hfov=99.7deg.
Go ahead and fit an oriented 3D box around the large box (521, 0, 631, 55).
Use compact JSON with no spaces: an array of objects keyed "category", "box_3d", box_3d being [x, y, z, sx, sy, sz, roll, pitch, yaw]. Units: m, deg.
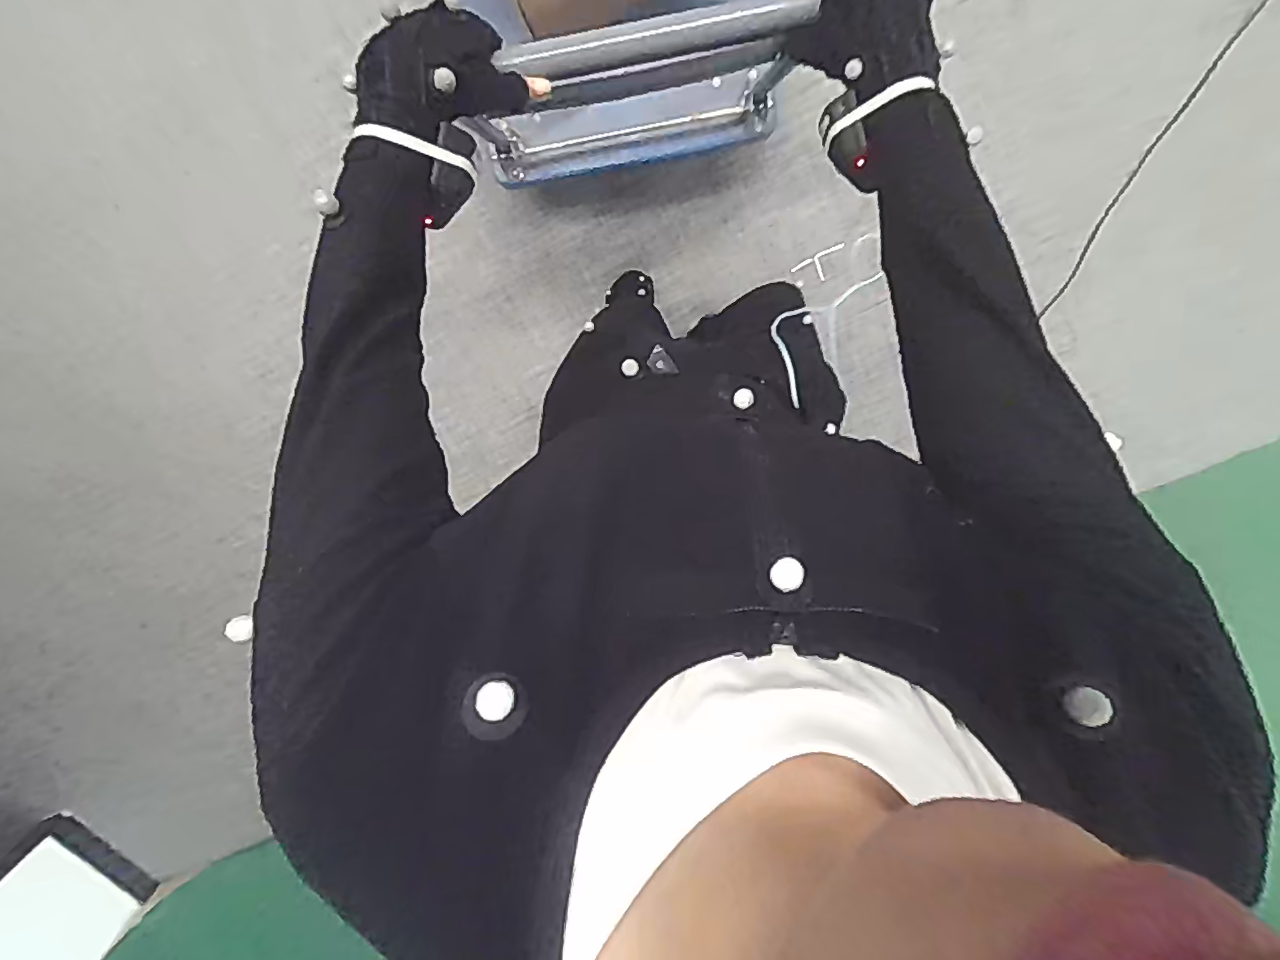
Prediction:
[{"category":"large box","box_3d":[-0.069,-0.950,0.795,0.408,0.320,0.320,-28,109,12]}]
